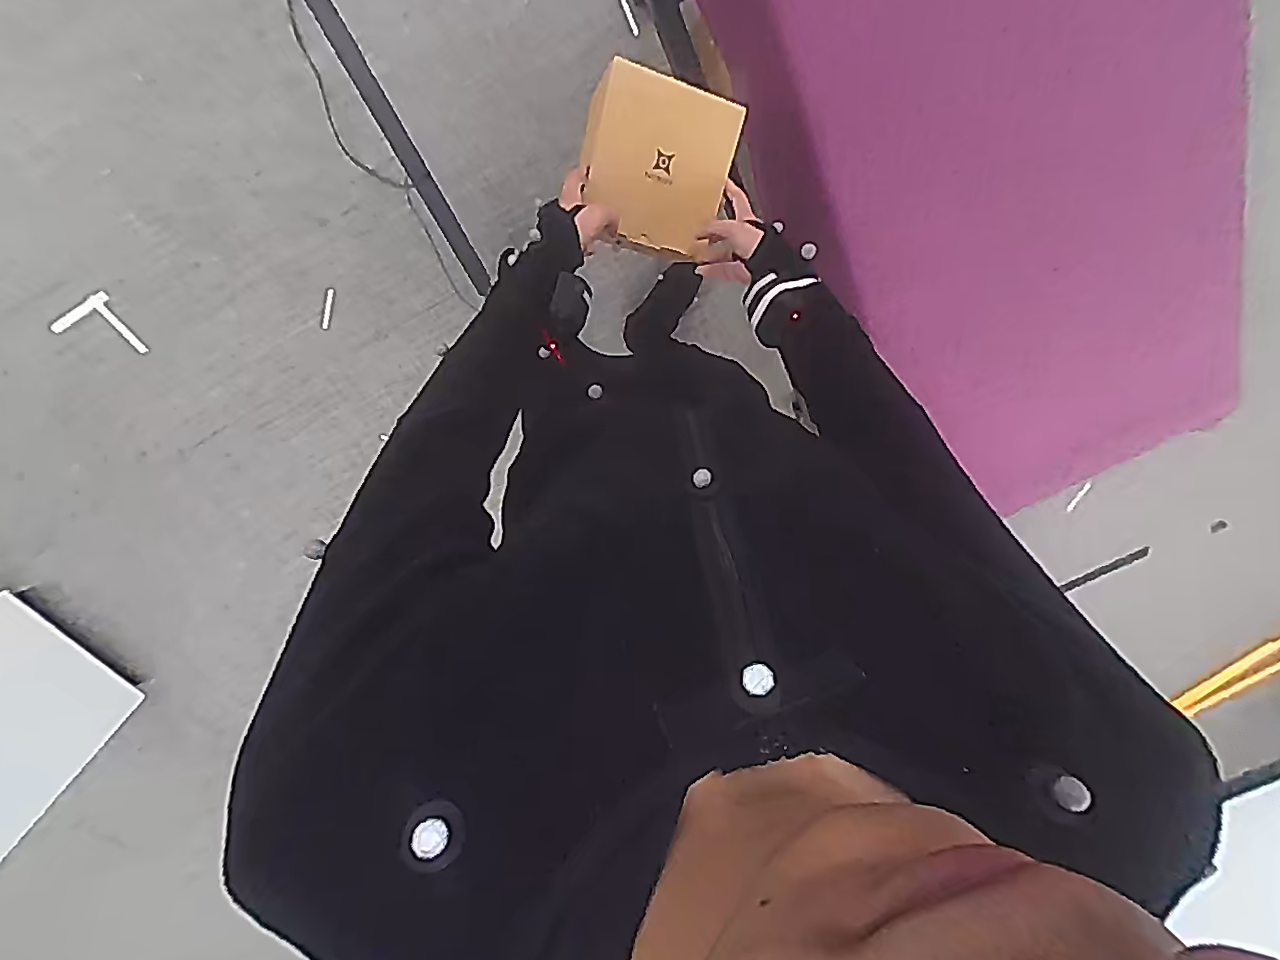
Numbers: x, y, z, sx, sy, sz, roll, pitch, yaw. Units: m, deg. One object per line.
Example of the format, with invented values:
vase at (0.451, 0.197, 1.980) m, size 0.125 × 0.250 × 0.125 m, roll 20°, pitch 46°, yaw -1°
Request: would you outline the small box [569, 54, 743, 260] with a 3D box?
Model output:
small box at (0.007, -0.402, 0.708) m, size 0.168 × 0.176 × 0.179 m, roll 9°, pitch 111°, yaw -17°
